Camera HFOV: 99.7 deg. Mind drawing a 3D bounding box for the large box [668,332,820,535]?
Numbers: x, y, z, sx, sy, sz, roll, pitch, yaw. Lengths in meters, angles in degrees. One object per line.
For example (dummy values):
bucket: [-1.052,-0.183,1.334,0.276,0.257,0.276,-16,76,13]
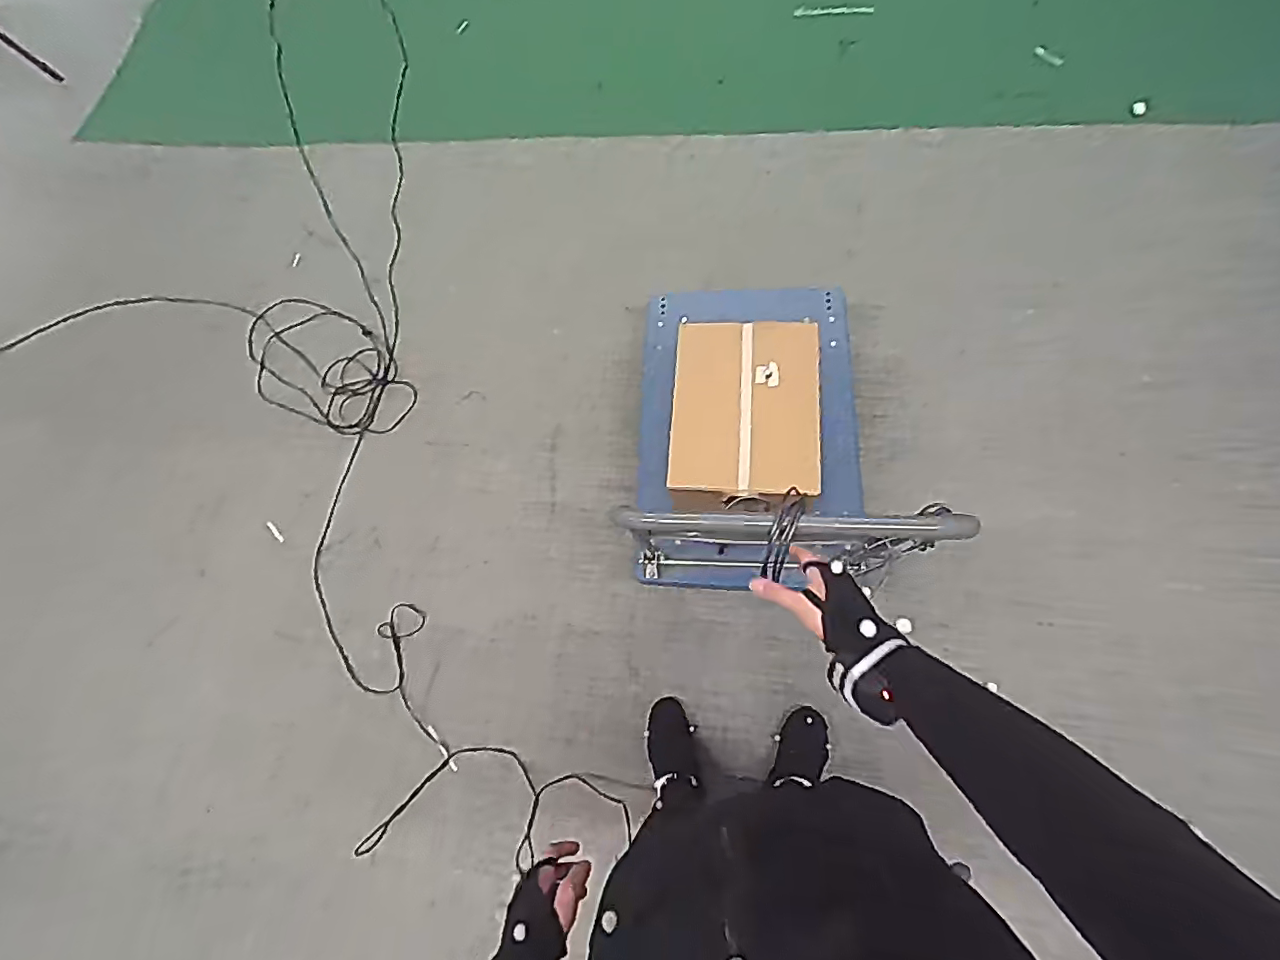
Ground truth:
large box: [0.244,-0.097,1.309,0.320,0.320,0.408,3,70,8]
